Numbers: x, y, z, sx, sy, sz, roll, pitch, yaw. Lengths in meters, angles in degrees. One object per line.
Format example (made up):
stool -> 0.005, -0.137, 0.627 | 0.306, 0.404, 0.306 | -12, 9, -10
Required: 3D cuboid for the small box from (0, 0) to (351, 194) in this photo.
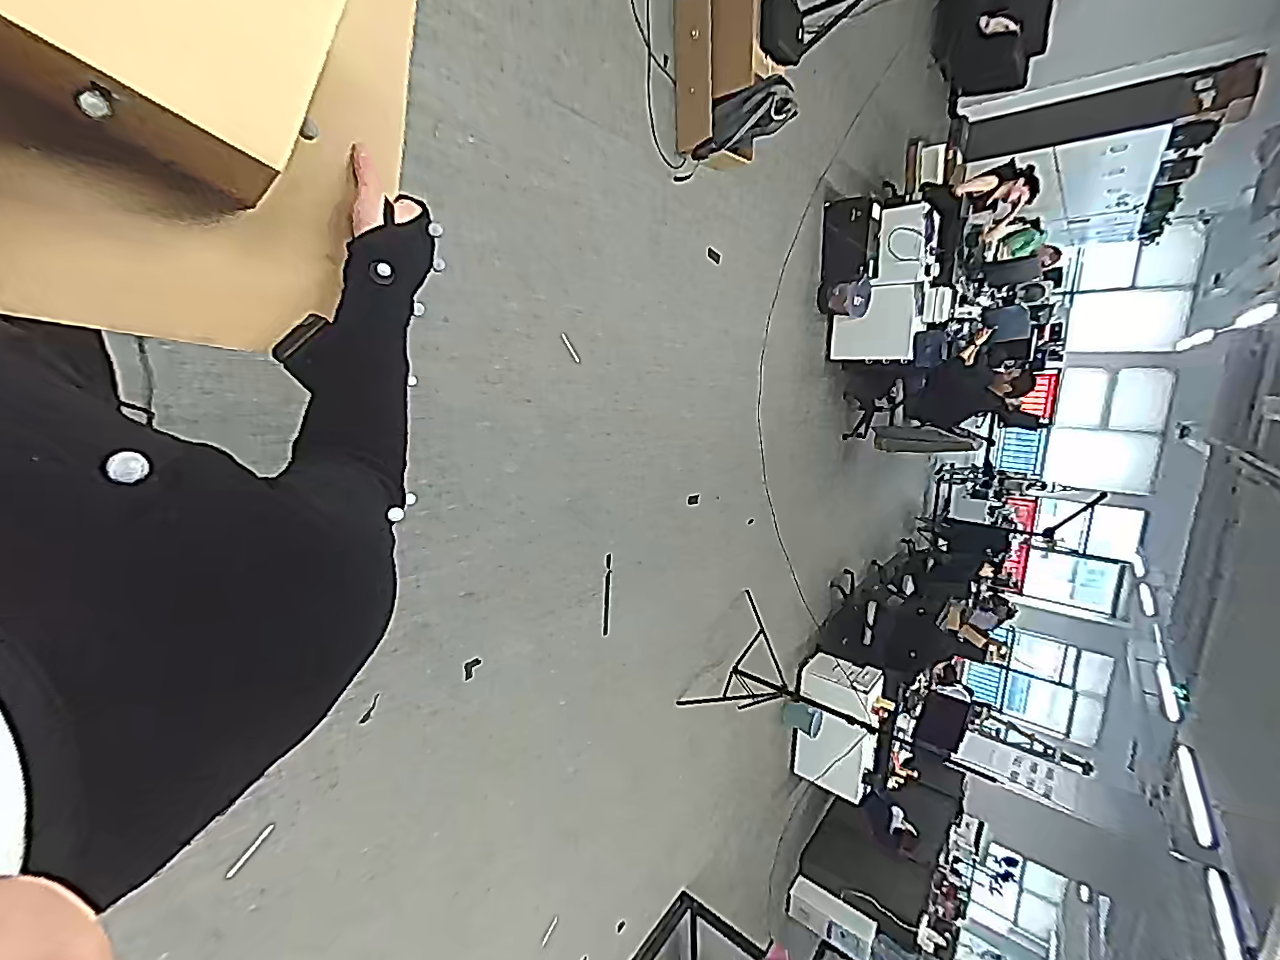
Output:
small box -> -0.338, -0.334, 0.388 | 0.179, 0.176, 0.168 | 20, 90, -42
